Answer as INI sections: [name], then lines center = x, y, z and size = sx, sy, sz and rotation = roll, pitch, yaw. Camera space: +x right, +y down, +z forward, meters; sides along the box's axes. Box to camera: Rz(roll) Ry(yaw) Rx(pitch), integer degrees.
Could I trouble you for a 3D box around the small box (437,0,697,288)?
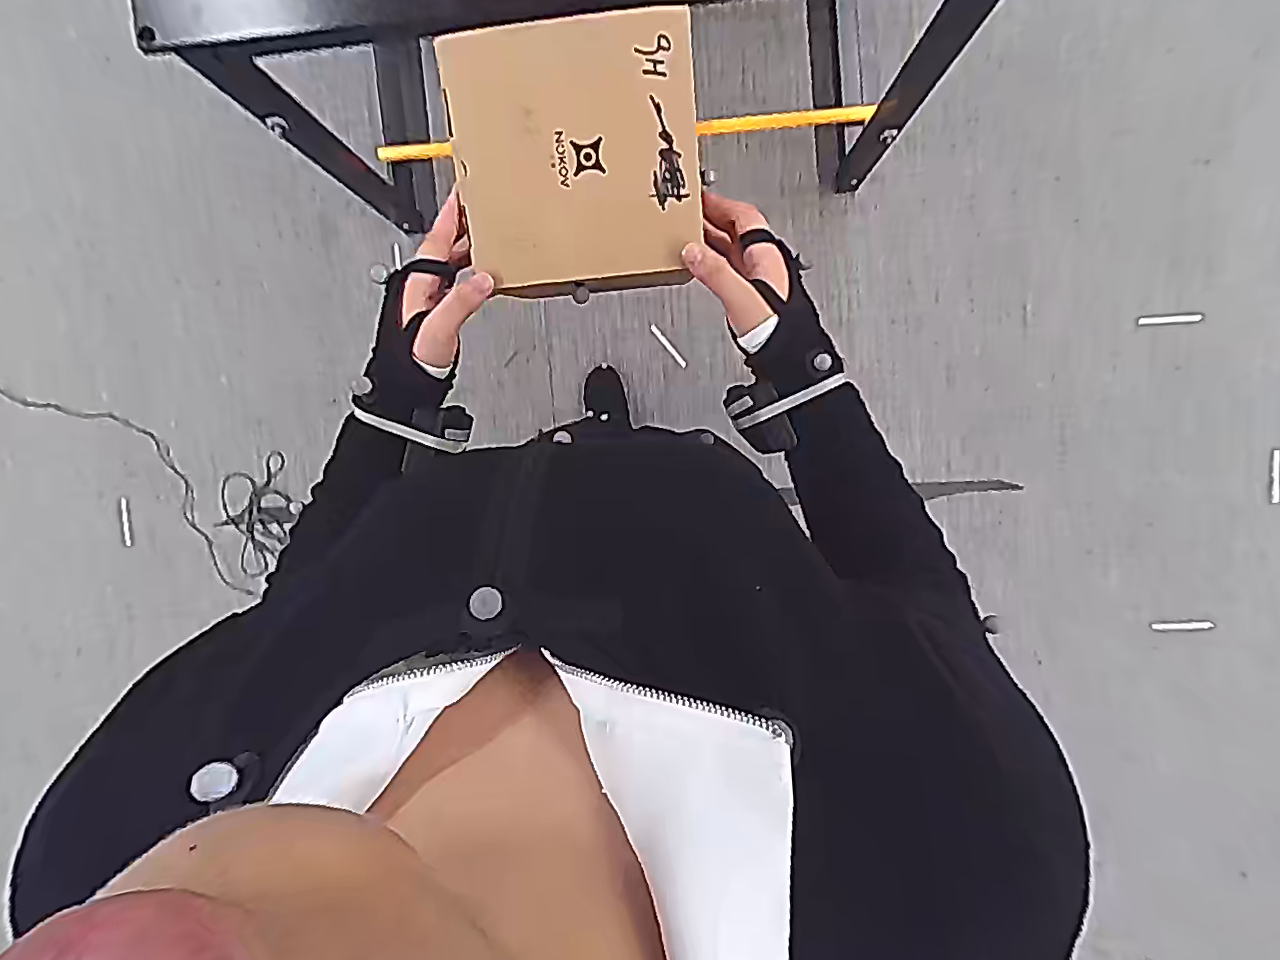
[small box]
center = -0.046, -0.262, 0.463
size = 0.179, 0.176, 0.168
rotation = -4, 105, 3
